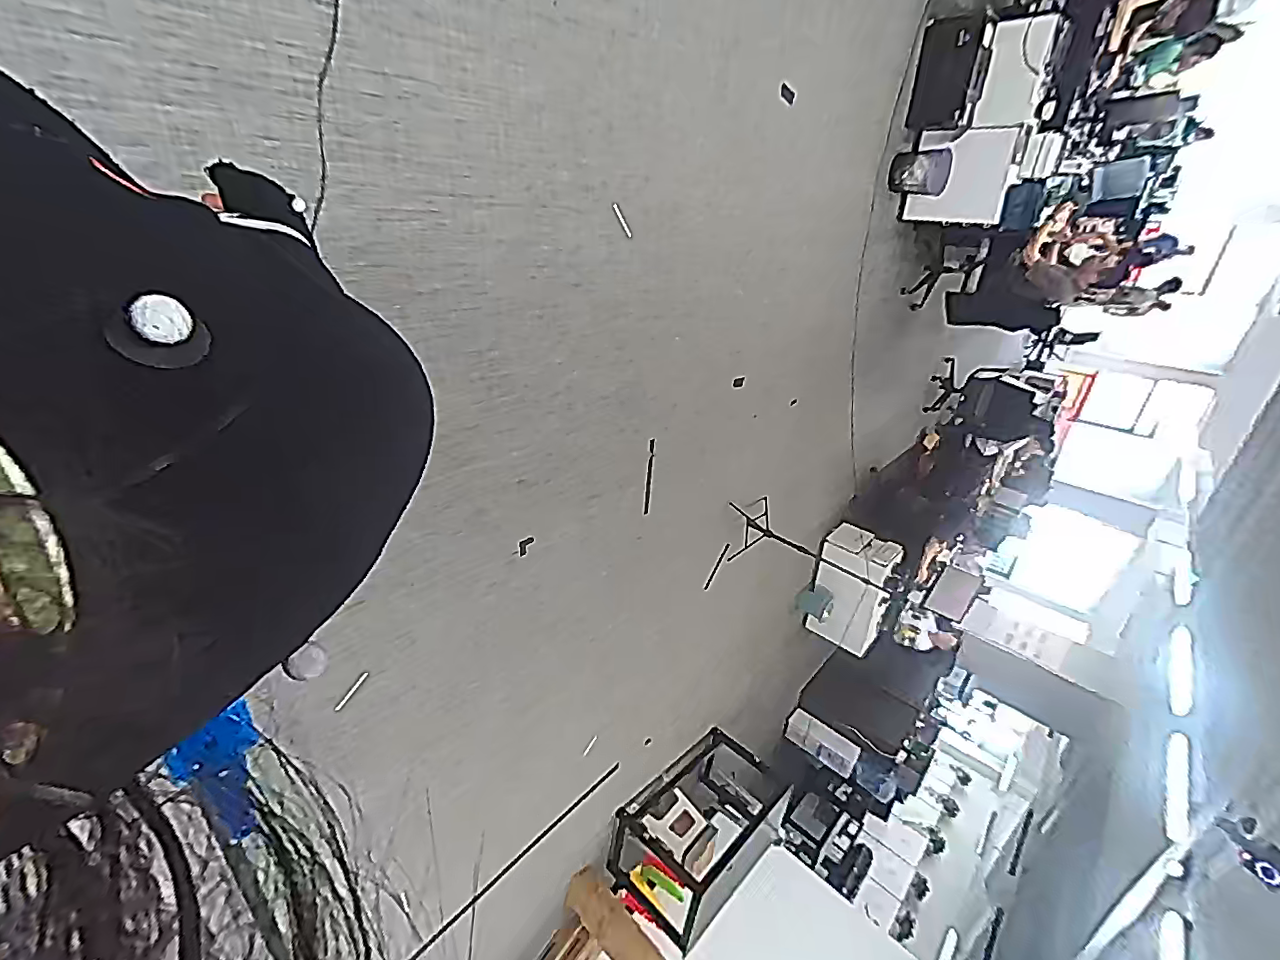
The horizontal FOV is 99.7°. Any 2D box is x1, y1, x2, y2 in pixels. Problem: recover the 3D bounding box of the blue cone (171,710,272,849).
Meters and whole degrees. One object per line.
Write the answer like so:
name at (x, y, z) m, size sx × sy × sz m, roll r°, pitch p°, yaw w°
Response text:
blue cone at (-1.029, 0.791, 1.385) m, size 0.193 × 0.380 × 0.192 m, roll -26°, pitch 128°, yaw -42°
